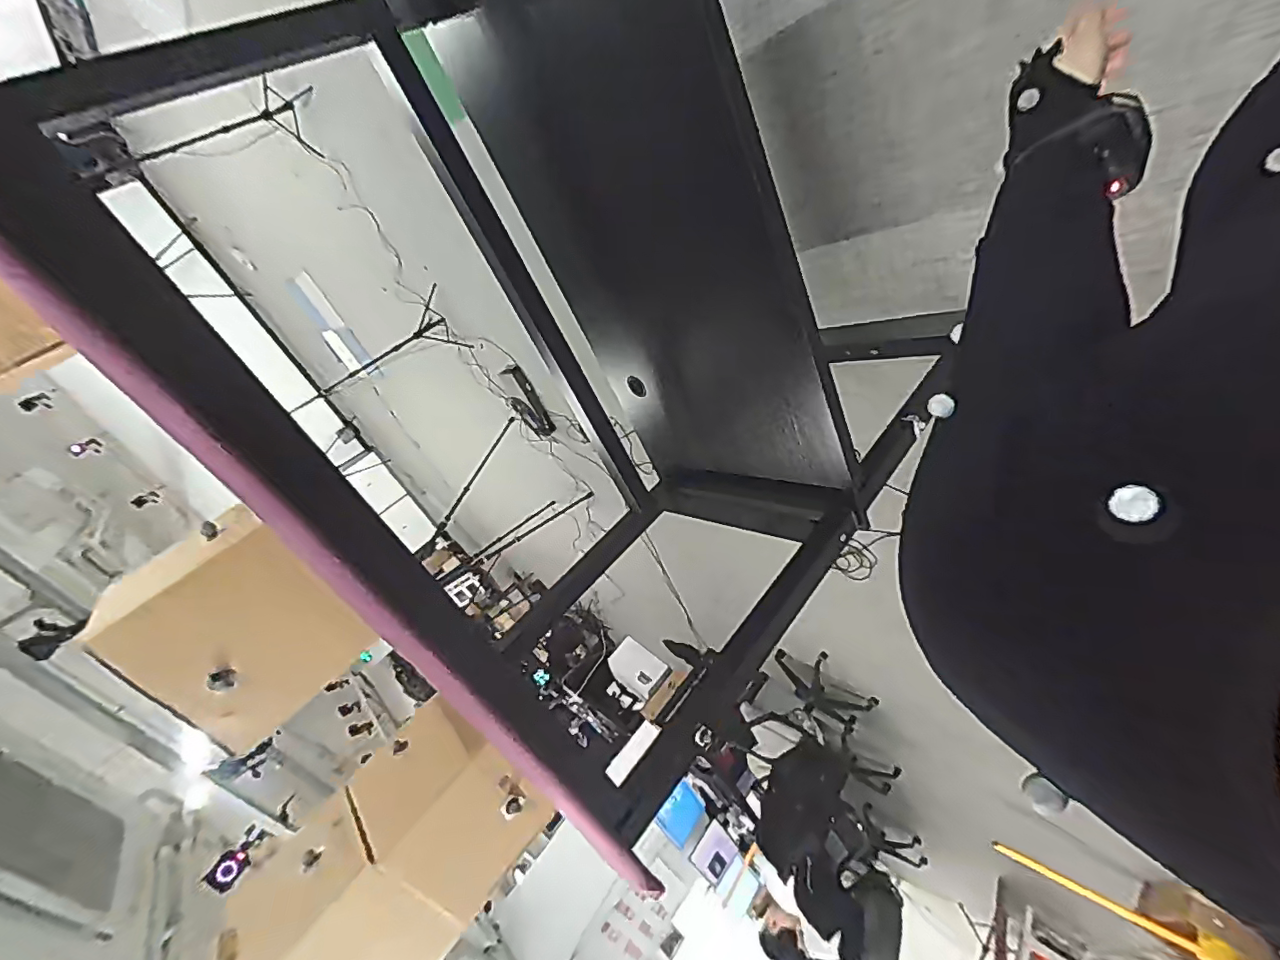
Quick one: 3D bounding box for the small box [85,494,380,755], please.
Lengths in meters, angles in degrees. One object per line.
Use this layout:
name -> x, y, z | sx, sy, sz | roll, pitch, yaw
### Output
small box -> -0.416, 0.142, 0.581 | 0.168, 0.176, 0.179 | 12, 138, 51

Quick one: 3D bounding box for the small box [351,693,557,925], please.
small box -> -0.241, 0.415, 0.715 | 0.179, 0.176, 0.168 | 5, 133, 52

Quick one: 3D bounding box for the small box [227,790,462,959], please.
small box -> -0.346, 0.523, 0.647 | 0.168, 0.176, 0.179 | 4, 133, 53

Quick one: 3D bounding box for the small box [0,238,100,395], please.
small box -> -0.568, -0.134, 0.406 | 0.179, 0.176, 0.168 | 15, 142, 49
